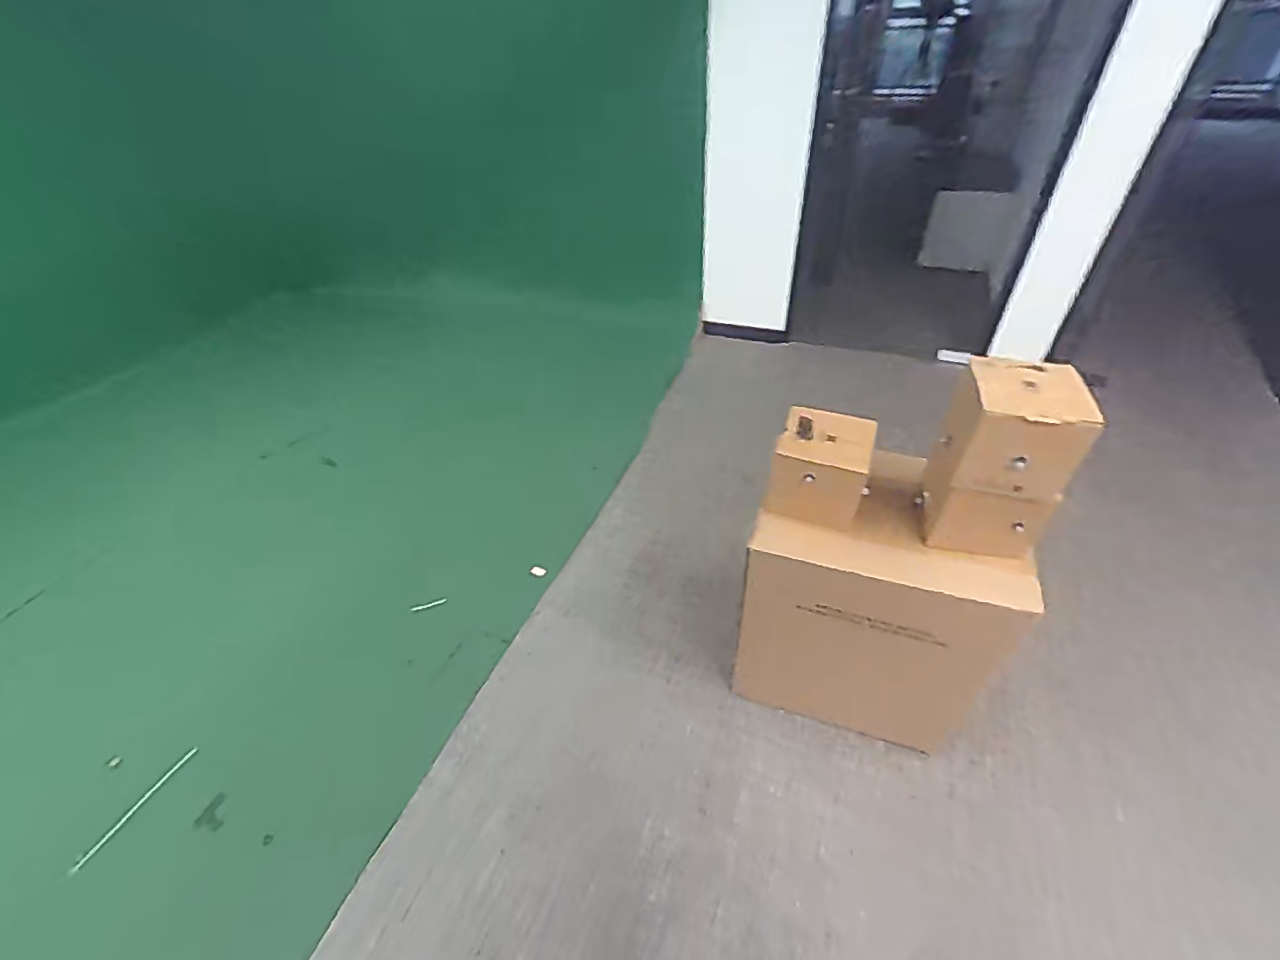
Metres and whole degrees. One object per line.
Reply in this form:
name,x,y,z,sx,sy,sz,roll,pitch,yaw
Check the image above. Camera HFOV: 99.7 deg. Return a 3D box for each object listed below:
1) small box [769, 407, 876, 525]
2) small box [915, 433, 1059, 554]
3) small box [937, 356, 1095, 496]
small box,0.379,-0.028,1.141,0.179,0.176,0.168,14,48,19
small box,0.662,0.026,1.057,0.179,0.176,0.168,5,43,12
small box,0.641,-0.094,0.948,0.168,0.176,0.179,9,45,14
